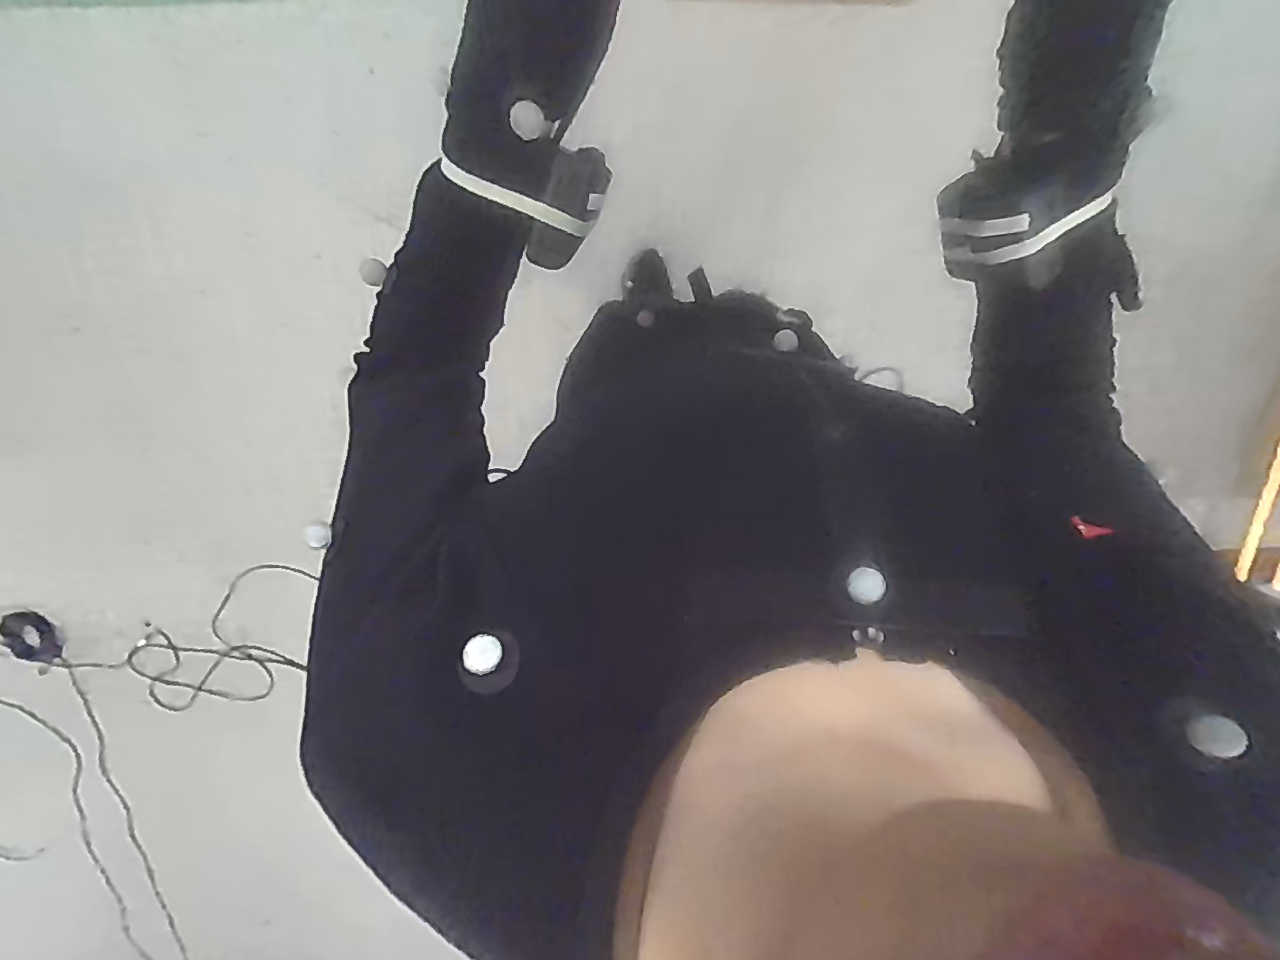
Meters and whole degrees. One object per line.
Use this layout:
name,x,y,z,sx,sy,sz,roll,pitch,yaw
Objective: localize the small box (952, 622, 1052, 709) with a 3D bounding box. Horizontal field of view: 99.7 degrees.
small box,1.059,0.547,1.602,0.168,0.176,0.179,2,109,-1
